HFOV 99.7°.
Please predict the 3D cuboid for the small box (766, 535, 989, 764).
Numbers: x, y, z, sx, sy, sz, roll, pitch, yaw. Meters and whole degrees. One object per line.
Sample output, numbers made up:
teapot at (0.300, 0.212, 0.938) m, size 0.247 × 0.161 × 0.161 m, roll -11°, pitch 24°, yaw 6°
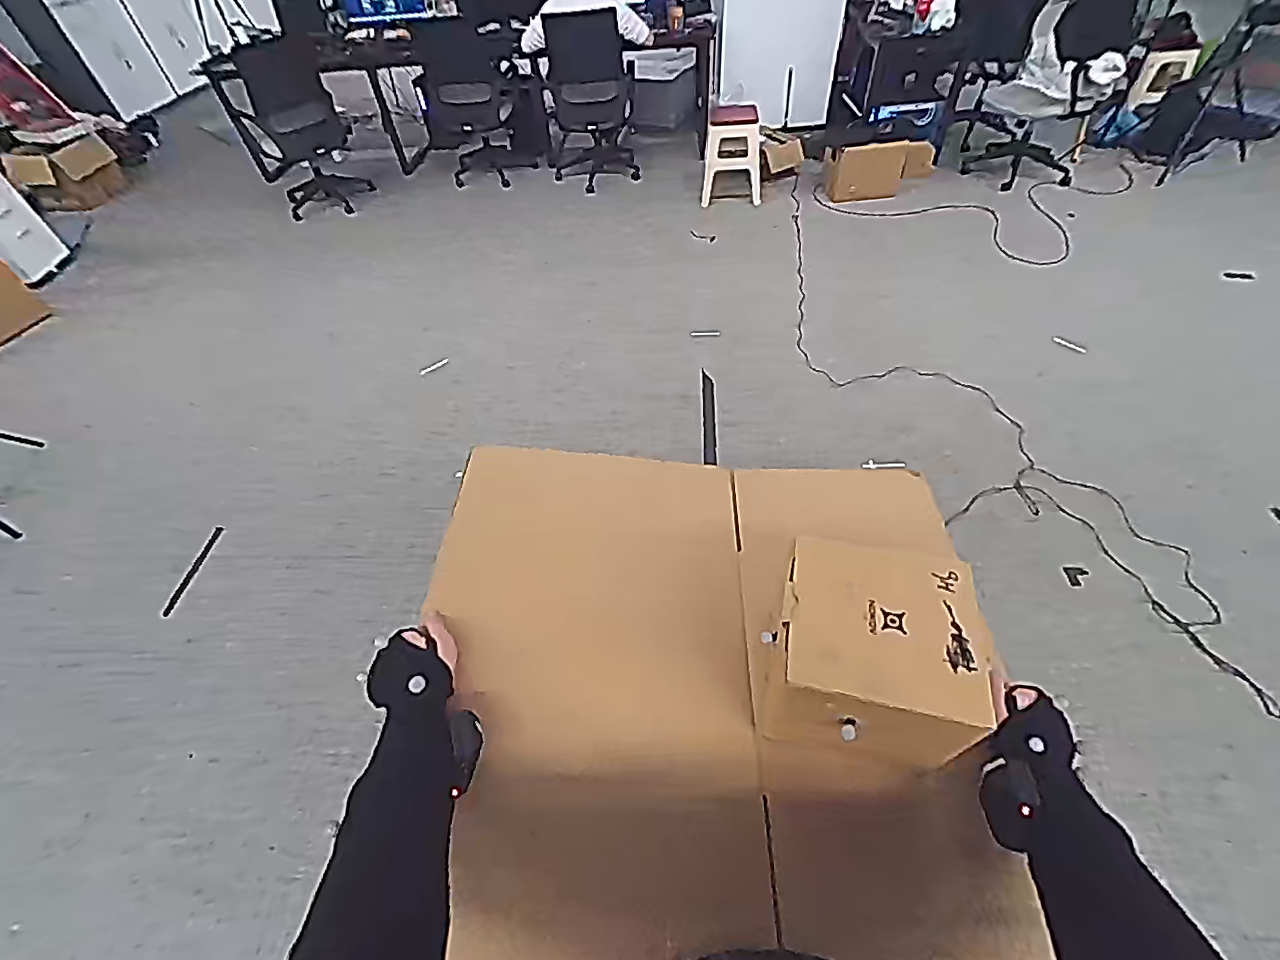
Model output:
small box at (0.236, 0.184, 0.581) m, size 0.179 × 0.176 × 0.168 m, roll 9°, pitch 52°, yaw 12°
